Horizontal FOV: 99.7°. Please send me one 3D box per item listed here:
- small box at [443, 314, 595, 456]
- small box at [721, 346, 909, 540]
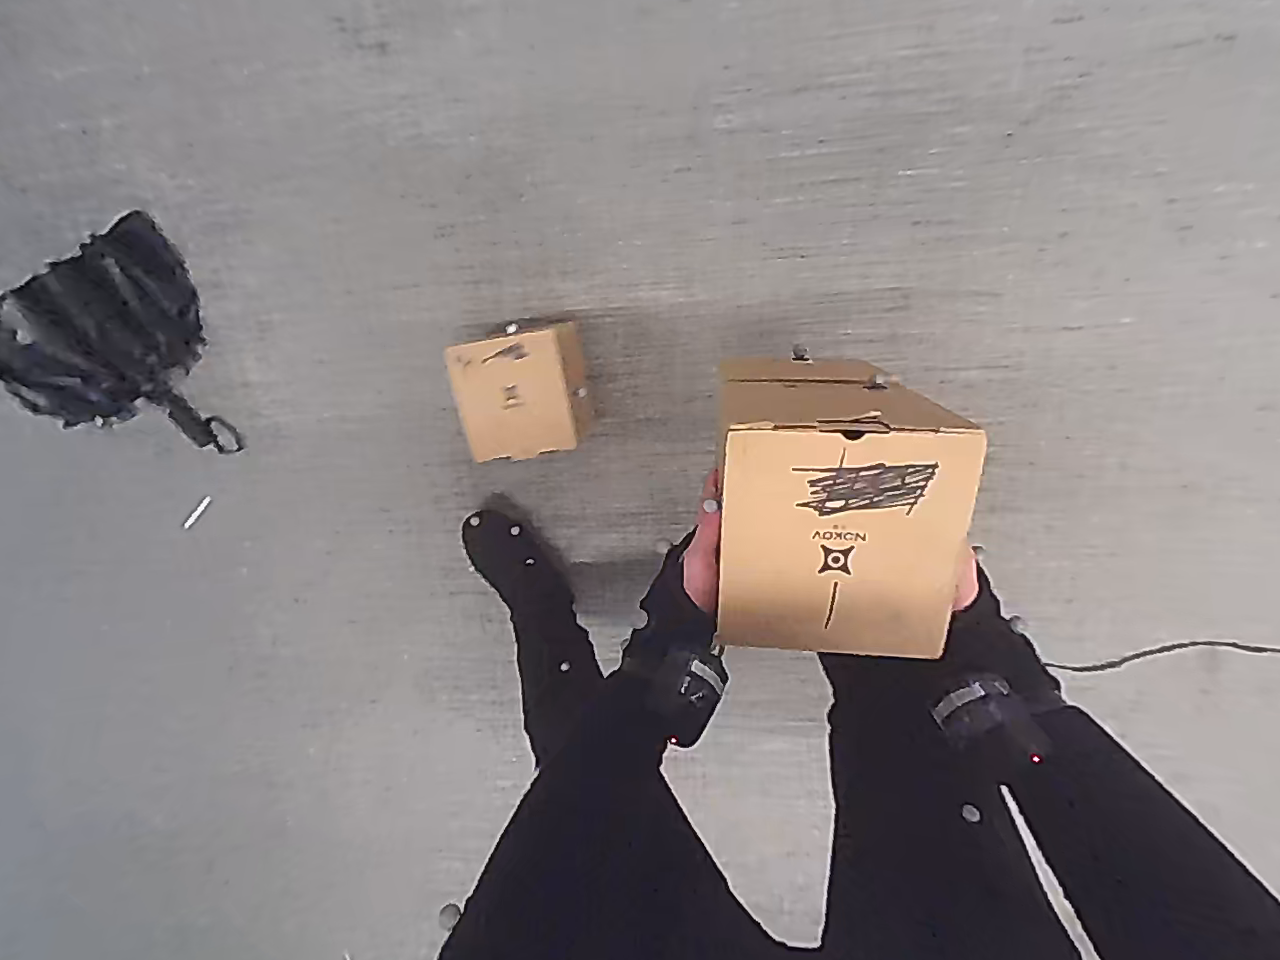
[{"bbox_3d":[-0.176,-0.154,0.851,0.168,0.176,0.179,-7,111,8],"label":"small box"},{"bbox_3d":[0.175,-0.049,0.597,0.168,0.176,0.179,0,109,8],"label":"small box"}]
